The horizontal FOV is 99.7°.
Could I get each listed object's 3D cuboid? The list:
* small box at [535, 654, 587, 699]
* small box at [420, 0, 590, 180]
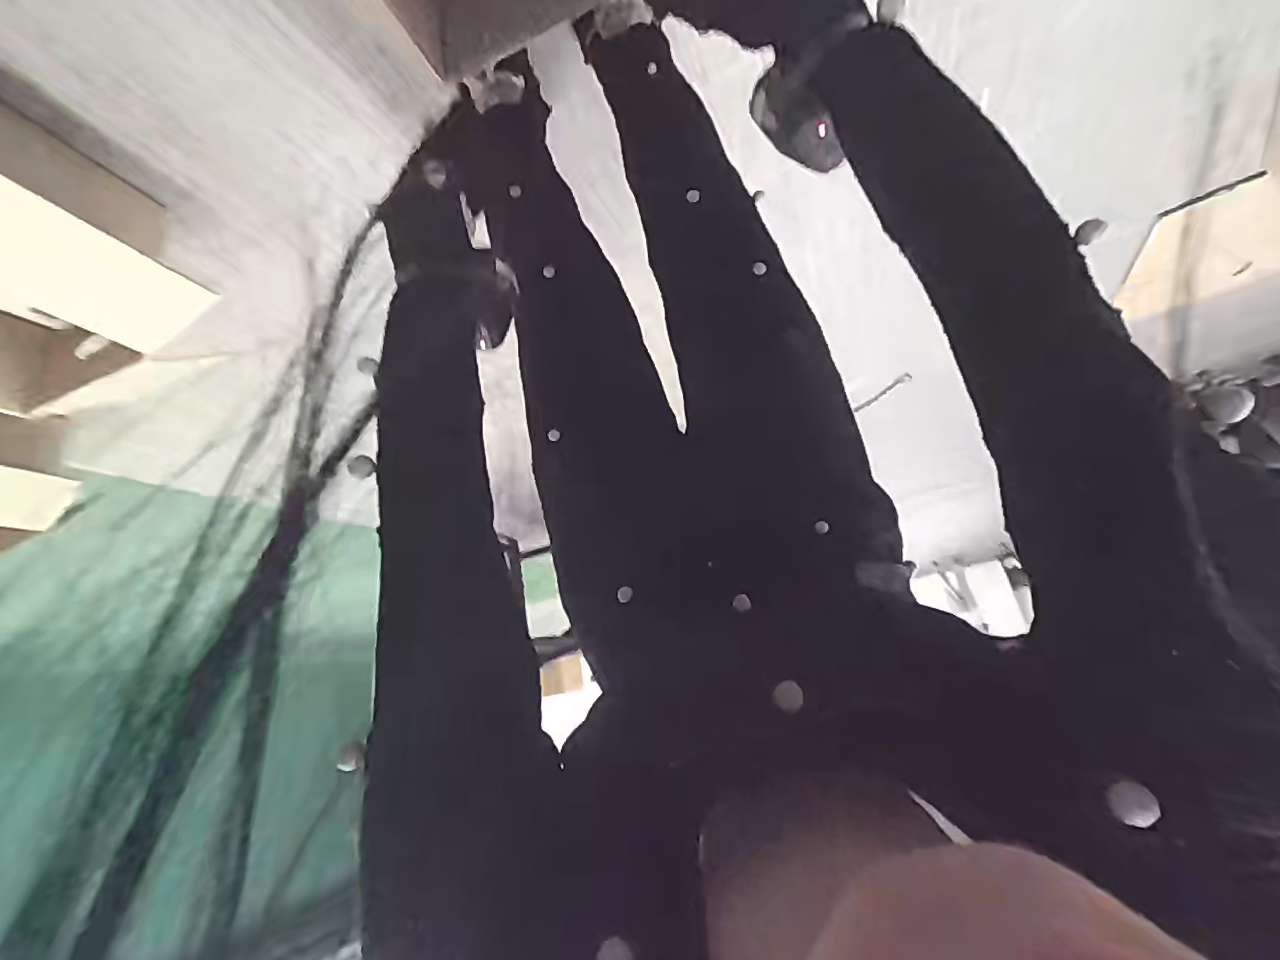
[{"bbox_3d":[-0.367,0.913,2.521,0.168,0.176,0.179,-20,158,22],"label":"small box"},{"bbox_3d":[-0.199,-0.590,0.784,0.179,0.176,0.168,27,148,-25],"label":"small box"}]
